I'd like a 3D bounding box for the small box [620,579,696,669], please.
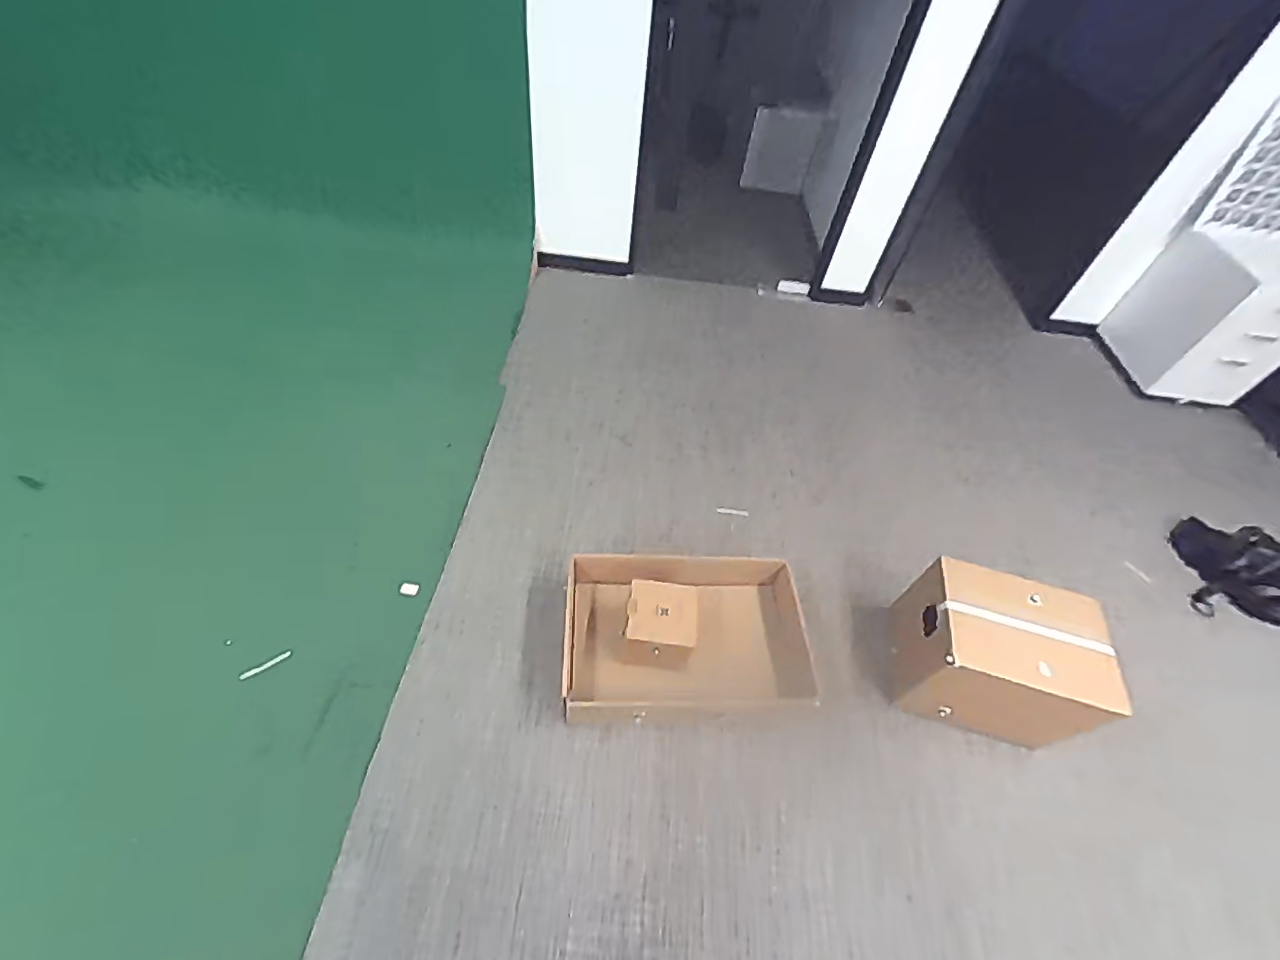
[{"bbox_3d":[0.046,0.383,1.424,0.179,0.176,0.168,9,50,-4],"label":"small box"}]
